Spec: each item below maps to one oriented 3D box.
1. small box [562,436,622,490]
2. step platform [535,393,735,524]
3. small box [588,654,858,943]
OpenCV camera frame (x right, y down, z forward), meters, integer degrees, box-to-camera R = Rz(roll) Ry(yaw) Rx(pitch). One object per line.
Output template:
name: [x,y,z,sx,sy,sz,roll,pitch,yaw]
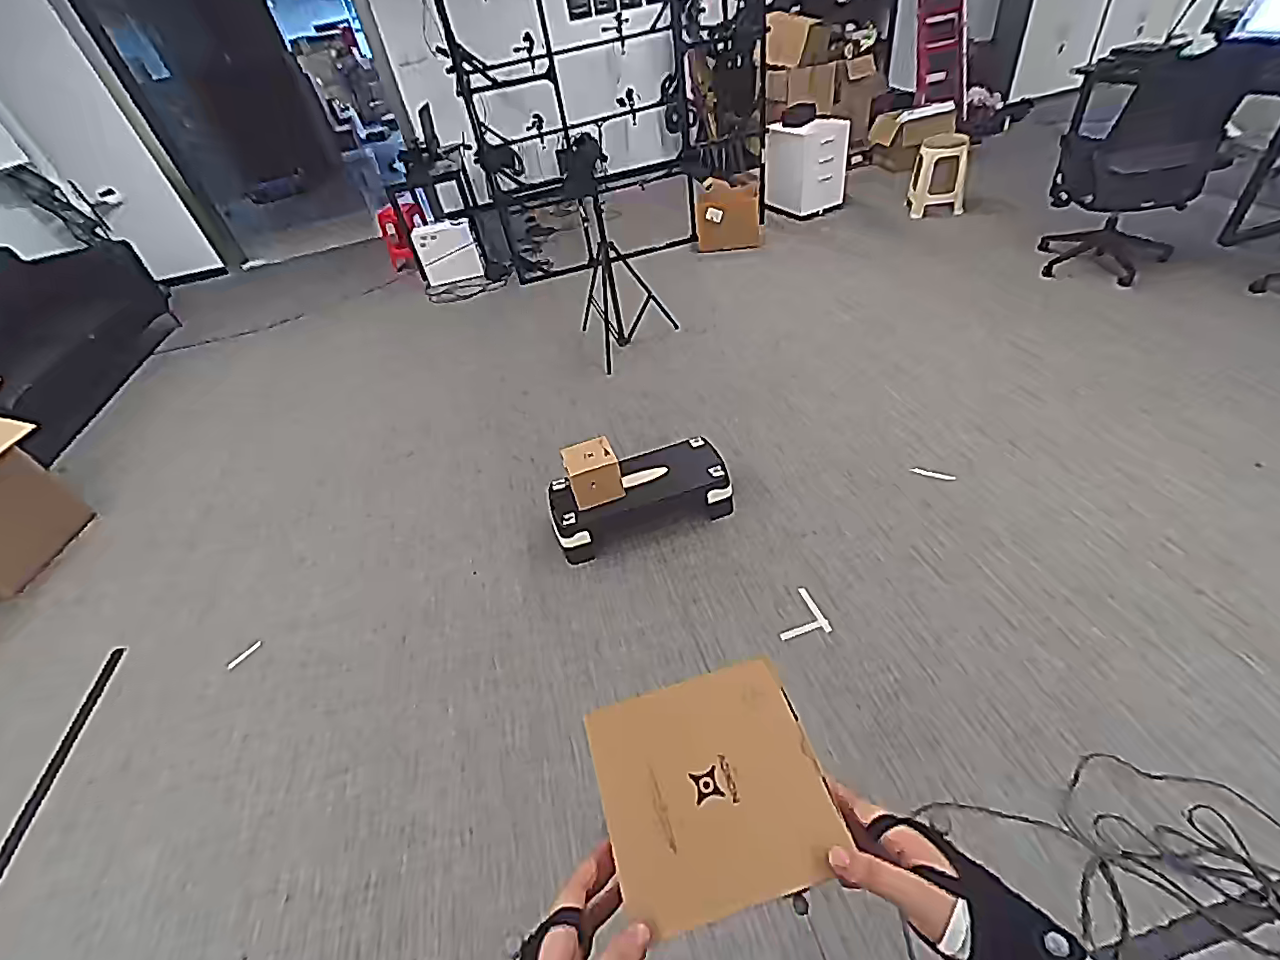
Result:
small box: [-0.170,-0.026,1.956,0.179,0.176,0.168,-19,42,-8]
step platform: [-0.015,-0.079,1.925,0.684,0.204,0.286,-17,41,-7]
small box: [0.064,0.291,0.499,0.179,0.176,0.168,-17,50,-7]
